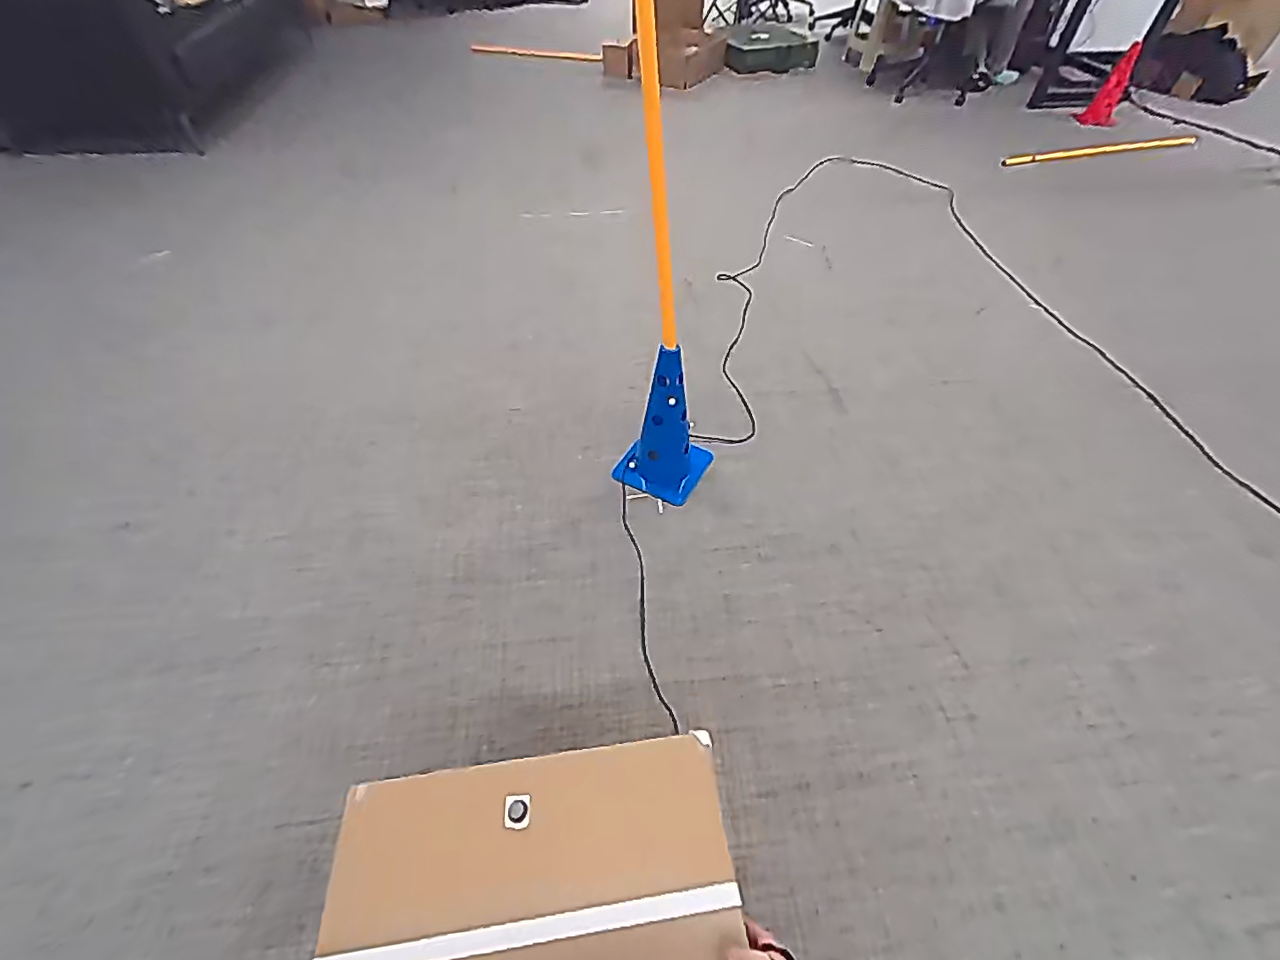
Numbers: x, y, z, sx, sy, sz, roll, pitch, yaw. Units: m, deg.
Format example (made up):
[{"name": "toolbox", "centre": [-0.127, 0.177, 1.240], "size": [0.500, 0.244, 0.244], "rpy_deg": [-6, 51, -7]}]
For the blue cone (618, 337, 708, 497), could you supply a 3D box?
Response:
[{"name": "blue cone", "centre": [0.060, -0.150, 1.210], "size": [0.192, 0.380, 0.193], "rpy_deg": [21, 53, 17]}]
